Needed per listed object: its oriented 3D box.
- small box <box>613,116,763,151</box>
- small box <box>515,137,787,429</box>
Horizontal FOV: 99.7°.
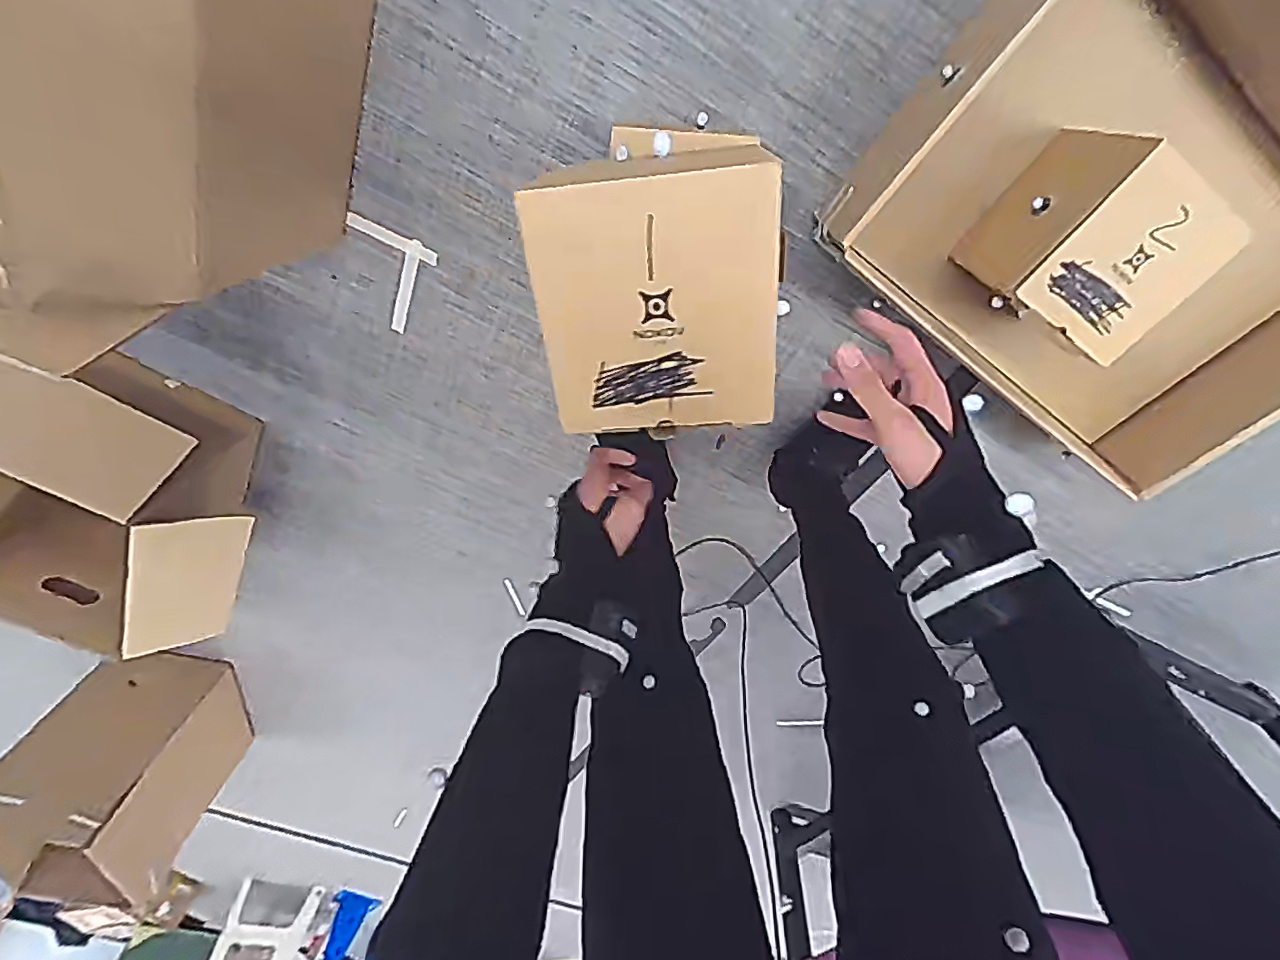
[{"bbox_3d":[0.053,-0.355,0.693,0.168,0.176,0.179,5,125,1],"label":"small box"},{"bbox_3d":[0.019,-0.159,0.430,0.168,0.176,0.179,-3,123,7],"label":"small box"}]
